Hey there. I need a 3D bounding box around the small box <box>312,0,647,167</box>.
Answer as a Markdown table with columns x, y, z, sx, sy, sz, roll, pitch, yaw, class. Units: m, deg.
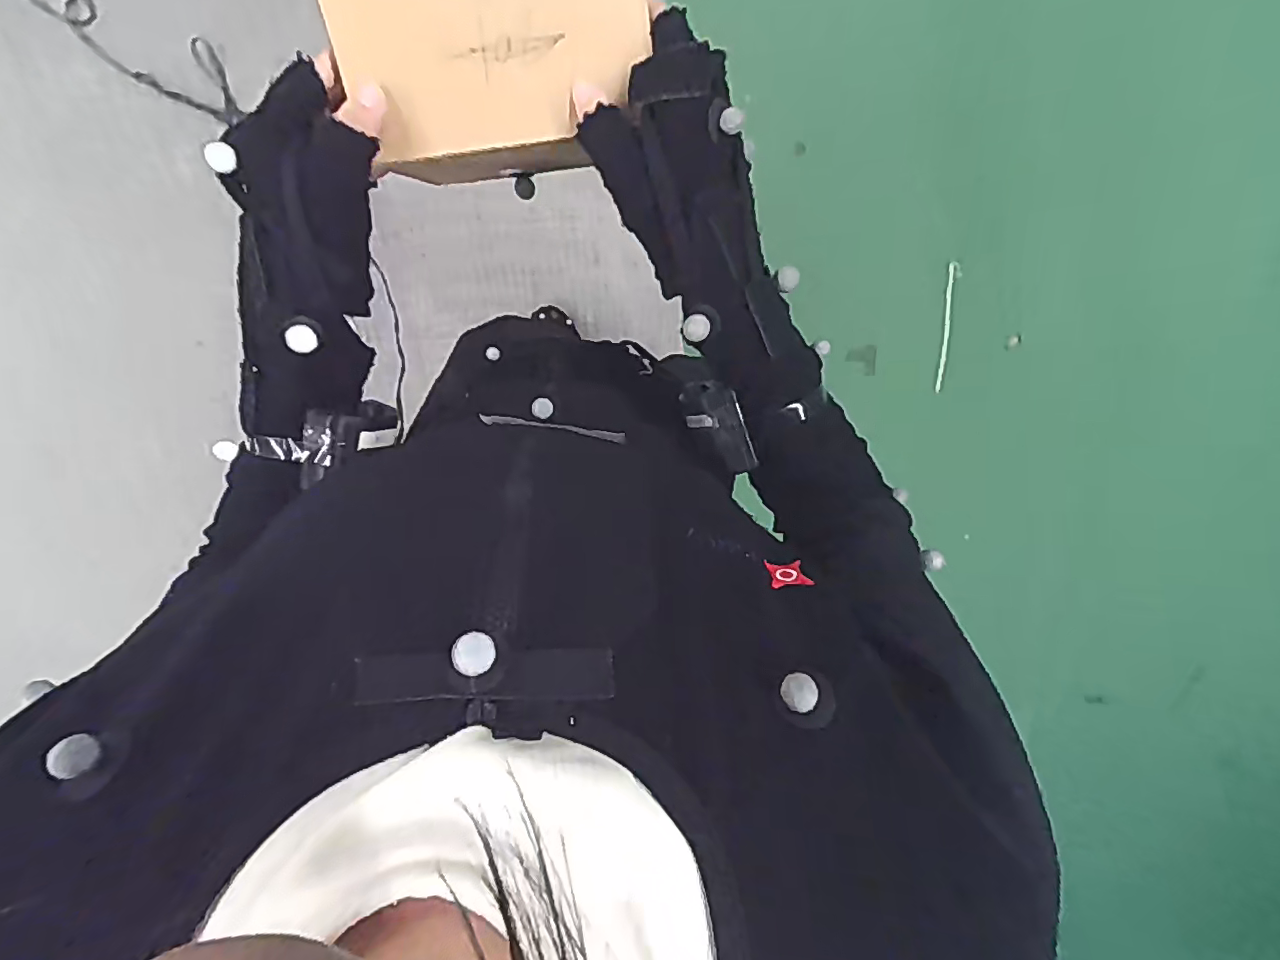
| x | y | z | sx | sy | sz | roll | pitch | yaw | class |
| --- | --- | --- | --- | --- | --- | --- | --- | --- | --- |
| -0.094 | -0.309 | 0.332 | 0.168 | 0.176 | 0.179 | -9 | 117 | 0 | small box |
